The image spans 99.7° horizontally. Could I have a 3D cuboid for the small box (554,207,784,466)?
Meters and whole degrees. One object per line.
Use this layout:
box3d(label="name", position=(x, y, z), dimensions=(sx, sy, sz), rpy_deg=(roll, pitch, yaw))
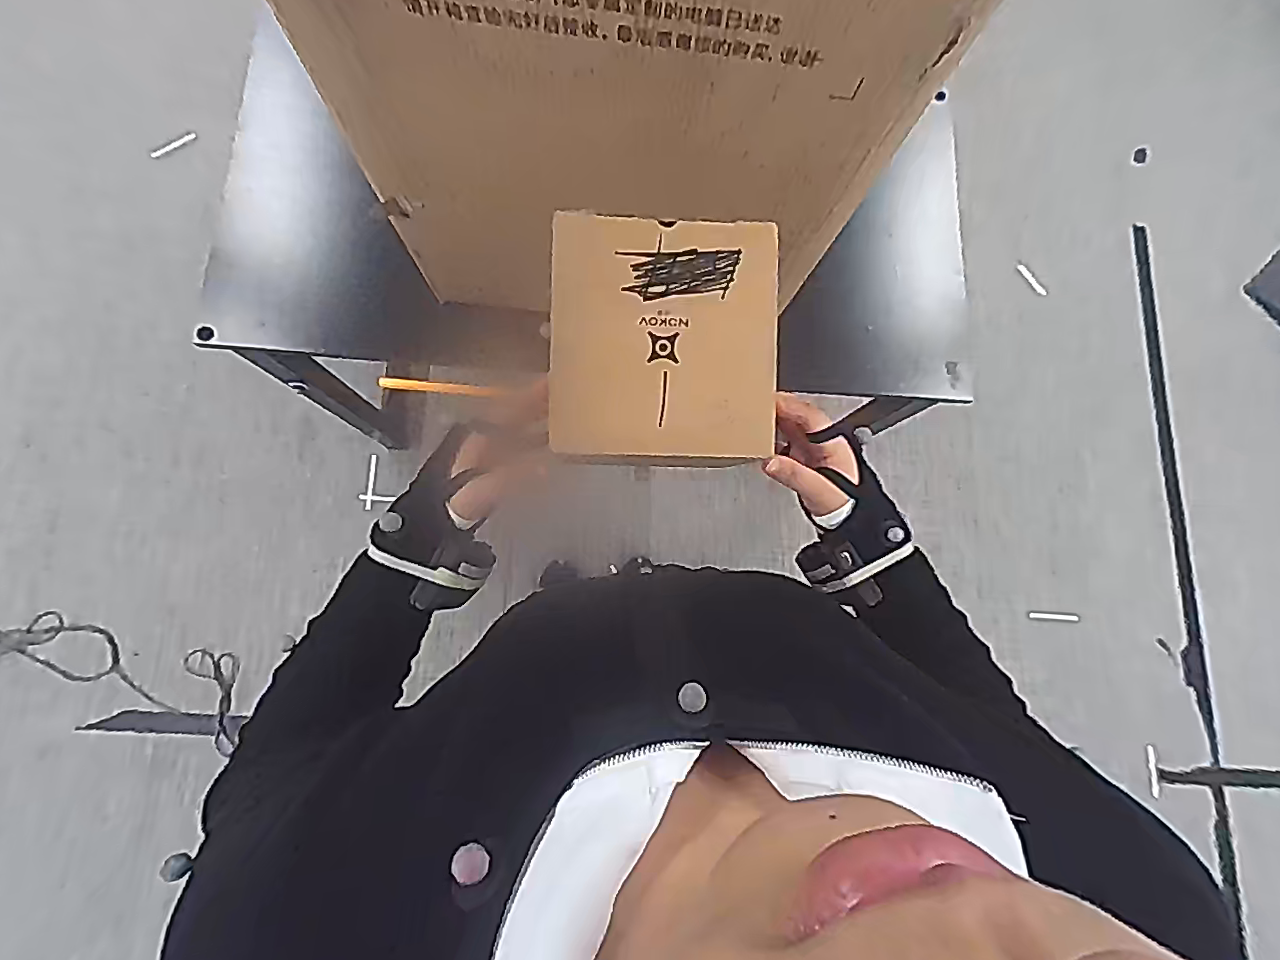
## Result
box3d(label="small box", position=(0.016, -0.104, 0.465), dimensions=(0.168, 0.176, 0.179), rpy_deg=(0, 90, -3))
